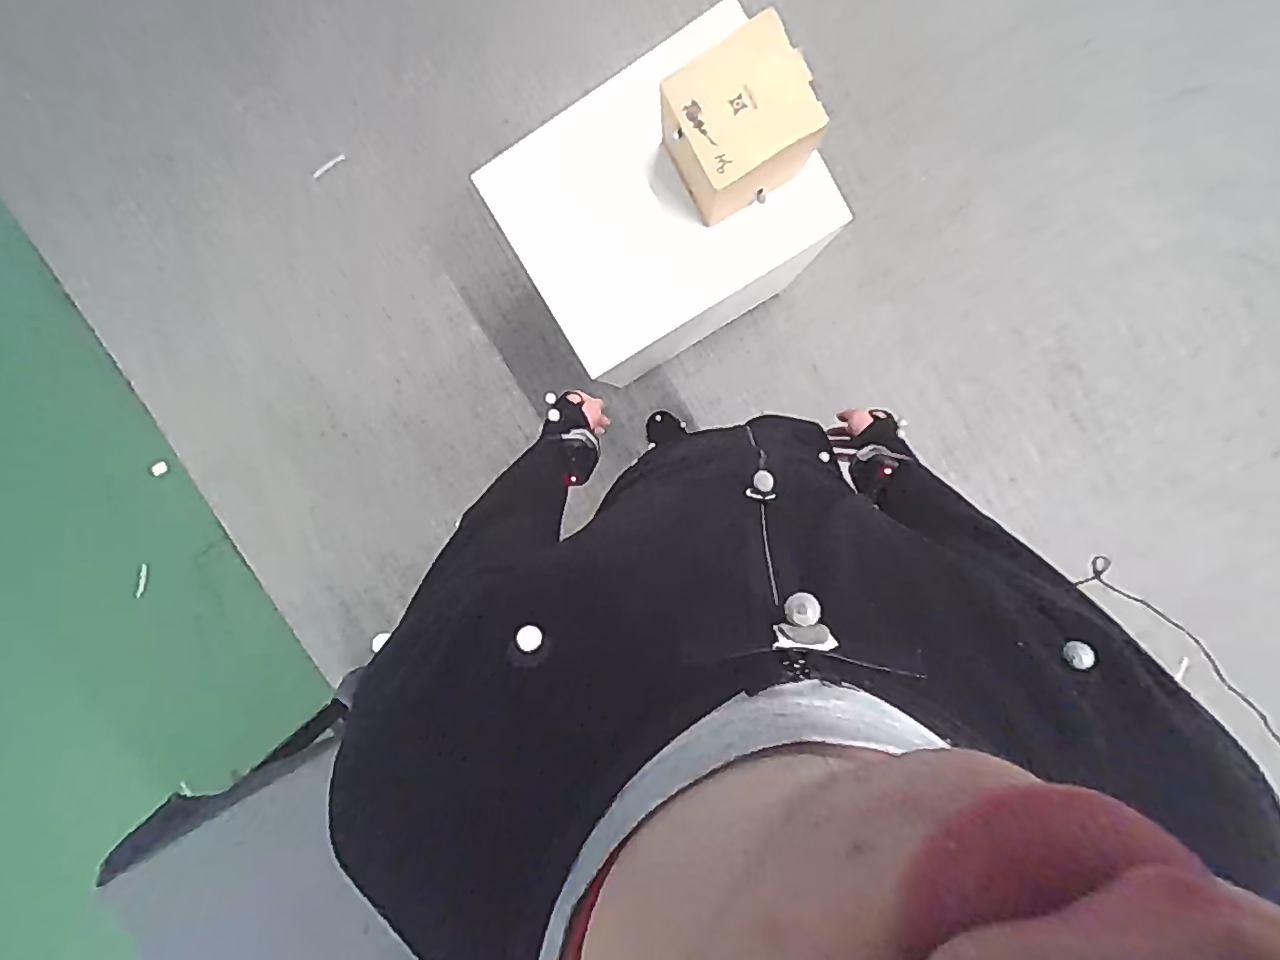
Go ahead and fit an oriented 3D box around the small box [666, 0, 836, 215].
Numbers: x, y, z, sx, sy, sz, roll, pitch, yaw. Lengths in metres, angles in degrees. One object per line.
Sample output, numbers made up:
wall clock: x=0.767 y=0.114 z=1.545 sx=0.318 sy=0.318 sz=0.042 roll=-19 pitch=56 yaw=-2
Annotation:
small box: x=0.148 y=-0.525 z=0.788 sx=0.179 sy=0.176 sz=0.168 roll=-29 pitch=97 yaw=7
